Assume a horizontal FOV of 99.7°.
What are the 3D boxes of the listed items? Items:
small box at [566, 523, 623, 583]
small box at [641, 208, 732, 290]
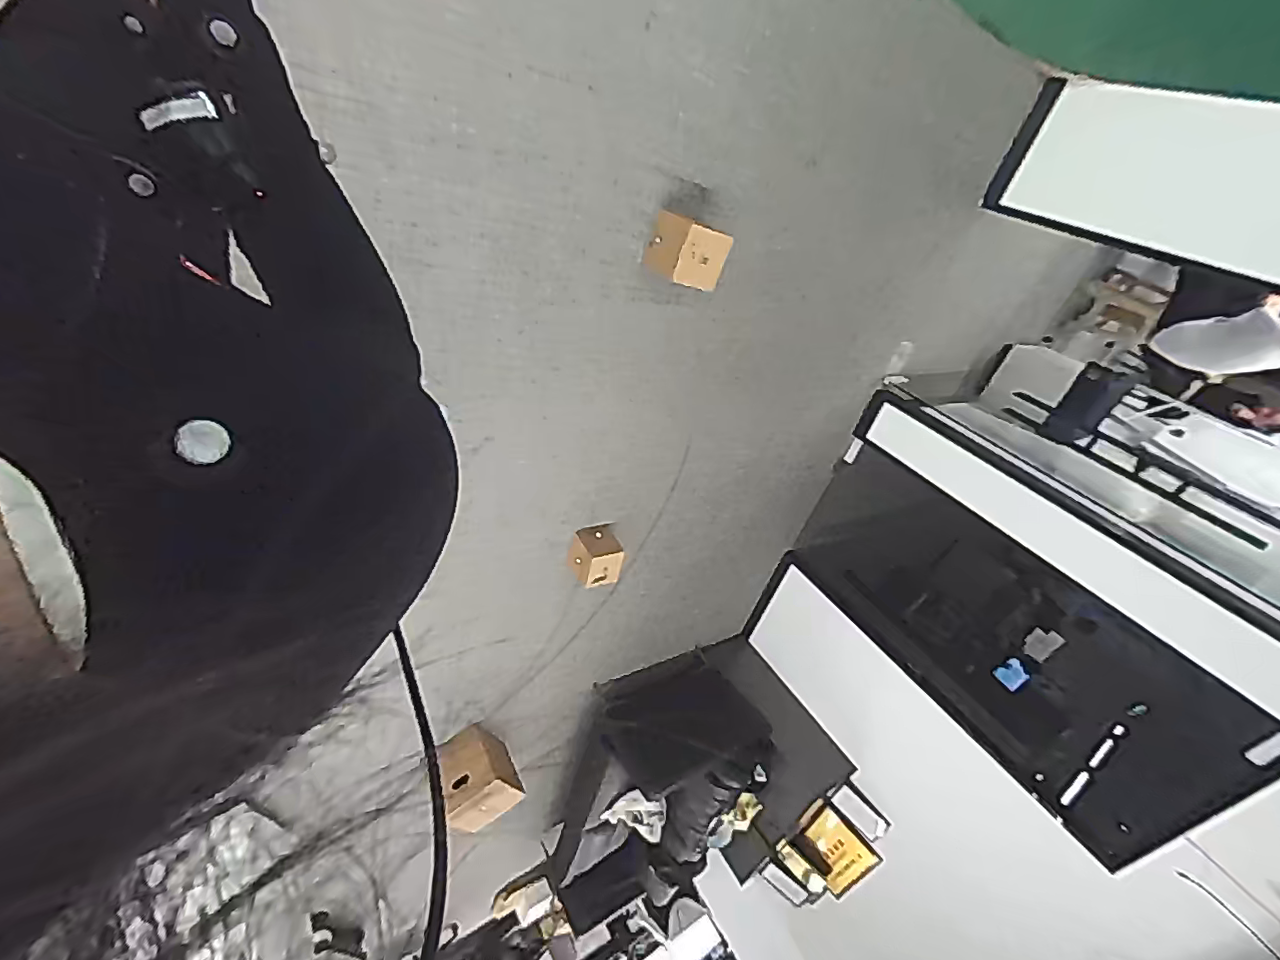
[{"bbox_3d":[-0.200,0.310,2.327,0.168,0.176,0.179,-7,130,-36],"label":"small box"},{"bbox_3d":[0.136,-0.698,1.630,0.179,0.176,0.168,-3,128,-39],"label":"small box"}]
